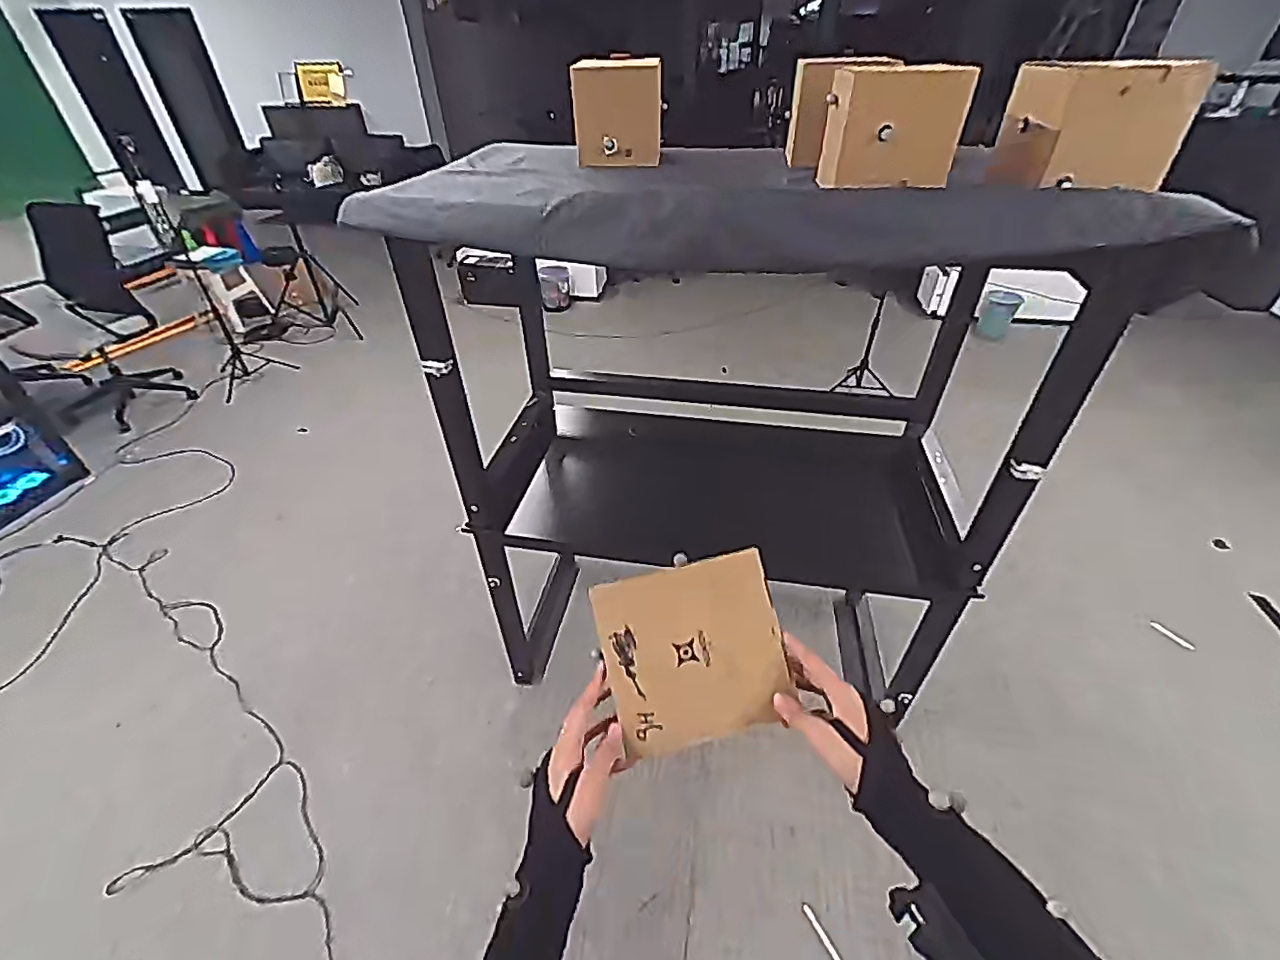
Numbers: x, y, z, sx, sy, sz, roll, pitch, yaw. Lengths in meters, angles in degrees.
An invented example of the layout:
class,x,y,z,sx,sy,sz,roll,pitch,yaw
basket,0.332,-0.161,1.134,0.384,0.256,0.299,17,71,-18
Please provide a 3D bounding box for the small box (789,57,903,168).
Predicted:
class,x,y,z,sx,sy,sz,roll,pitch,yaw
small box,0.392,-0.723,1.066,0.179,0.176,0.168,6,40,8

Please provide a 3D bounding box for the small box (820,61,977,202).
class,x,y,z,sx,sy,sz,roll,pitch,yaw
small box,0.386,-0.540,0.843,0.168,0.176,0.179,4,38,7

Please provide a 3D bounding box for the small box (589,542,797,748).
class,x,y,z,sx,sy,sz,roll,pitch,yaw
small box,0.047,0.169,0.602,0.179,0.176,0.168,-13,81,-4

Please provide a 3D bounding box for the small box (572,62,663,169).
class,x,y,z,sx,sy,sz,roll,pitch,yaw
small box,-0.039,-0.750,1.112,0.168,0.176,0.179,1,39,4

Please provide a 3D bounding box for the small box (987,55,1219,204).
class,x,y,z,sx,sy,sz,roll,pitch,yaw
small box,0.655,-0.513,0.796,0.168,0.176,0.179,2,38,4
